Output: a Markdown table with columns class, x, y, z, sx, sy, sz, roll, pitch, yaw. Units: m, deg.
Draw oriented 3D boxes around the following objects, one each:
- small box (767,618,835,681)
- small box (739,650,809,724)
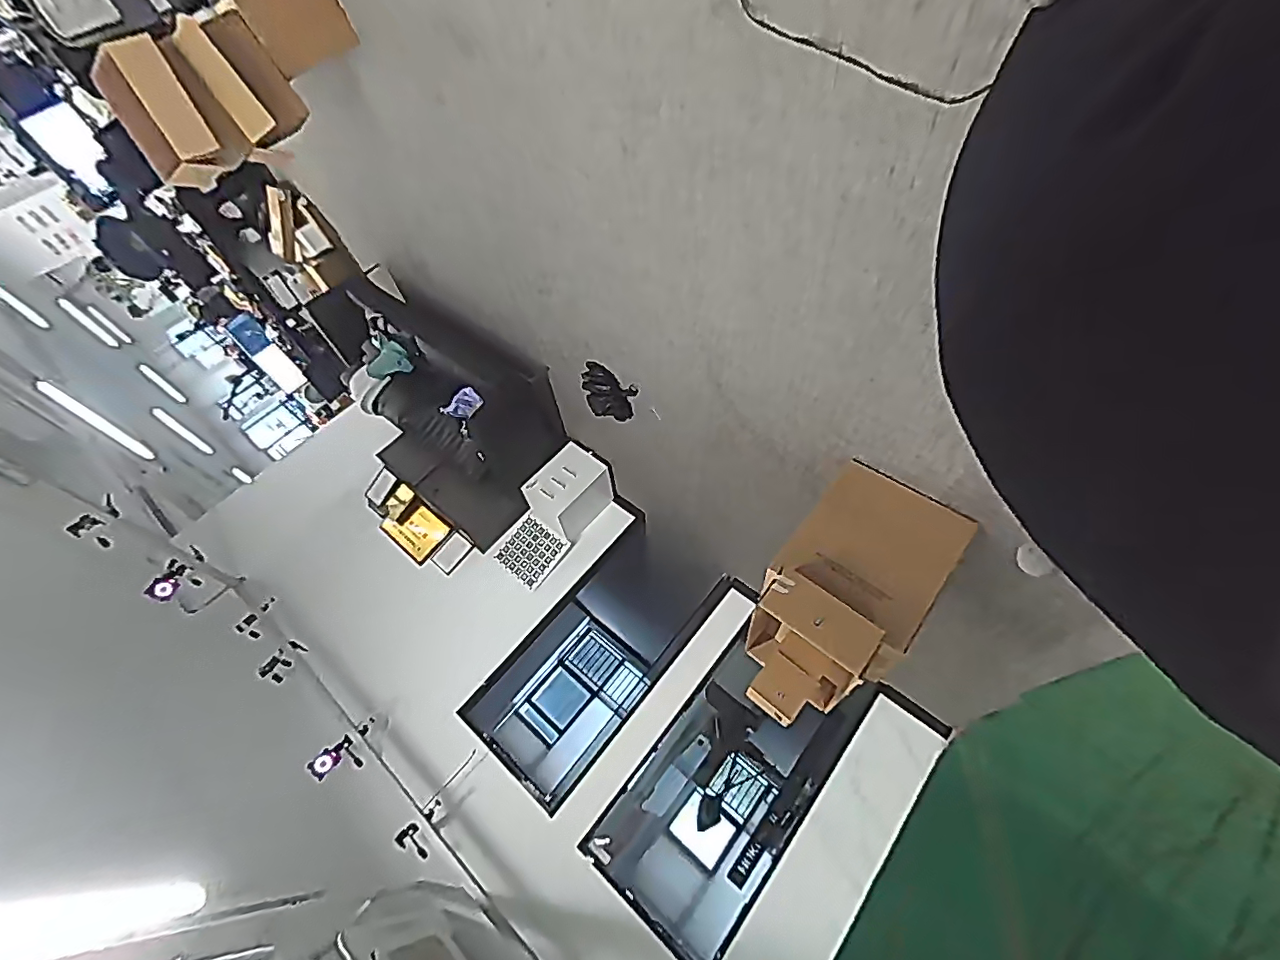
| class | x | y | z | sx | sy | sz | roll | pitch | yaw |
| --- | --- | --- | --- | --- | --- | --- | --- | --- | --- |
| small box | 0.592 | 0.637 | 2.012 | 0.179 | 0.176 | 0.168 | 35 | 160 | 25 |
| small box | 0.483 | 0.746 | 1.953 | 0.179 | 0.176 | 0.168 | 37 | 159 | 23 |
